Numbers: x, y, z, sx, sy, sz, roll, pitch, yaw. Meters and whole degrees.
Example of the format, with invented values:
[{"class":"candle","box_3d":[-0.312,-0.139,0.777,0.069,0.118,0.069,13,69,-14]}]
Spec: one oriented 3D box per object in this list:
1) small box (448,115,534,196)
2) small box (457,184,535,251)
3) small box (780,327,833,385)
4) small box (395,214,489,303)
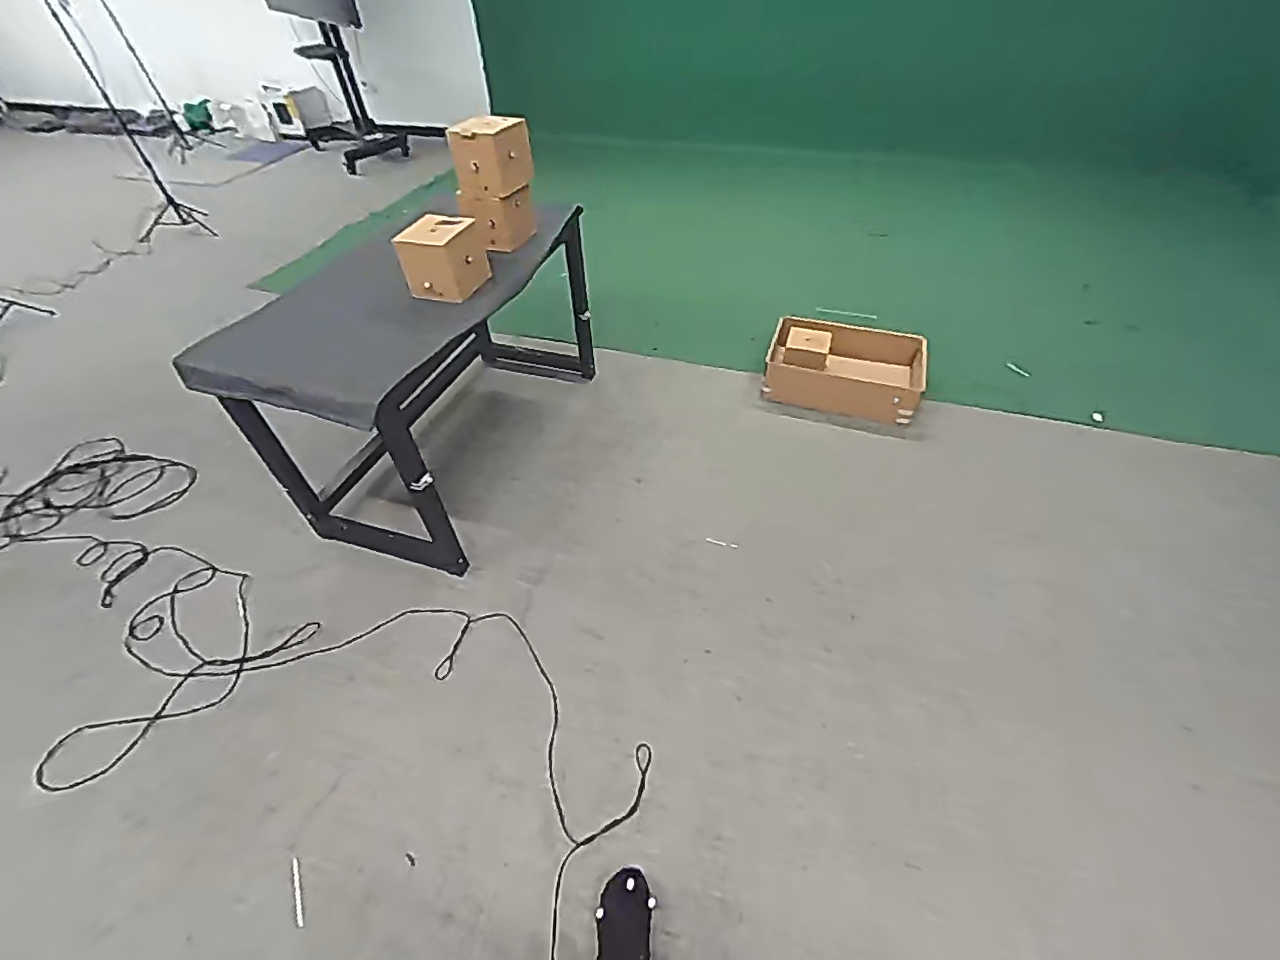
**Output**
[{"class":"small box","box_3d":[-0.441,-0.978,1.631,0.168,0.176,0.179,17,50,18]},{"class":"small box","box_3d":[-0.455,-0.860,1.746,0.168,0.176,0.179,15,48,16]},{"class":"small box","box_3d":[0.713,-0.531,2.325,0.179,0.176,0.168,14,50,14]},{"class":"small box","box_3d":[-0.545,-0.622,1.520,0.168,0.176,0.179,12,49,15]}]
